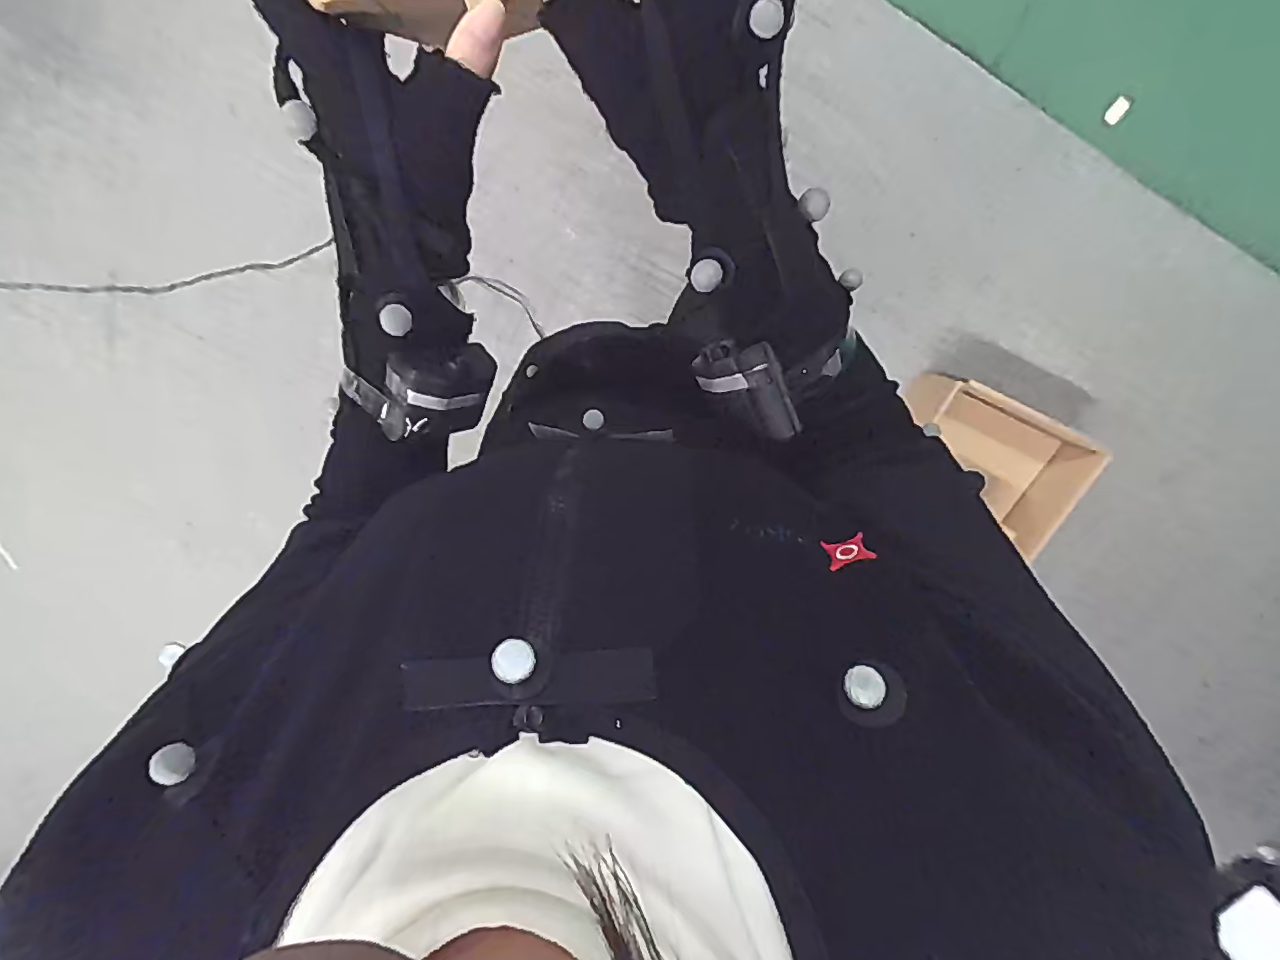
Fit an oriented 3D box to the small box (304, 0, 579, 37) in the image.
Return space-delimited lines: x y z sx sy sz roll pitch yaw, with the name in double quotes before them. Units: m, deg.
"small box" -0.075 -0.321 0.229 0.168 0.176 0.179 -10 120 11
